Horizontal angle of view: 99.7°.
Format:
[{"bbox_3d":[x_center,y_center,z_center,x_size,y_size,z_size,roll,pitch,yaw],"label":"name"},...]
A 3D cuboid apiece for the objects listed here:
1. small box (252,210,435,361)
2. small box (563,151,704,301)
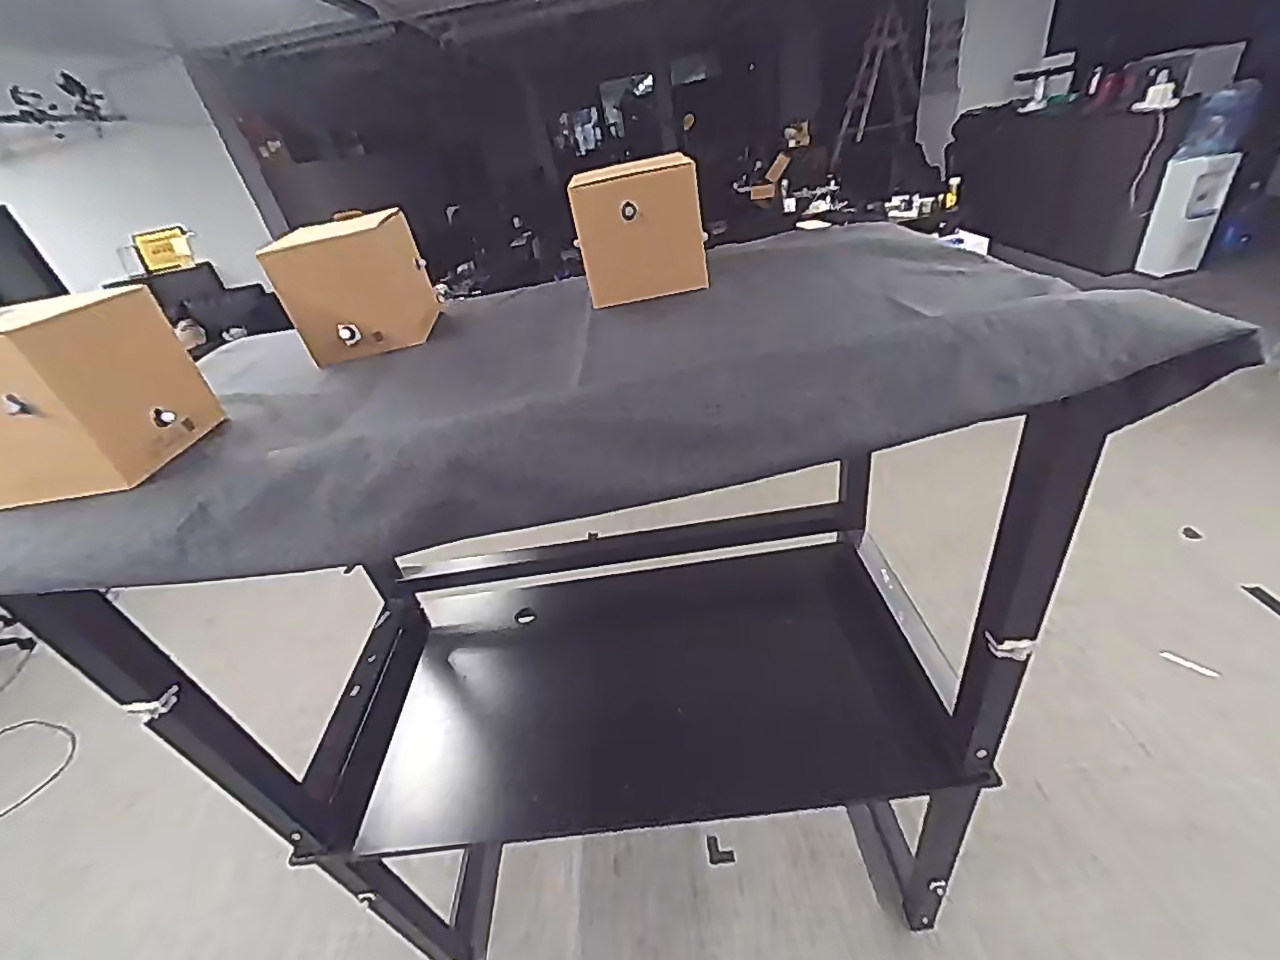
[{"bbox_3d":[-0.432,-0.299,0.827,0.168,0.176,0.179,-14,34,-2],"label":"small box"},{"bbox_3d":[-0.007,-0.384,0.820,0.179,0.176,0.168,-10,34,3],"label":"small box"}]
